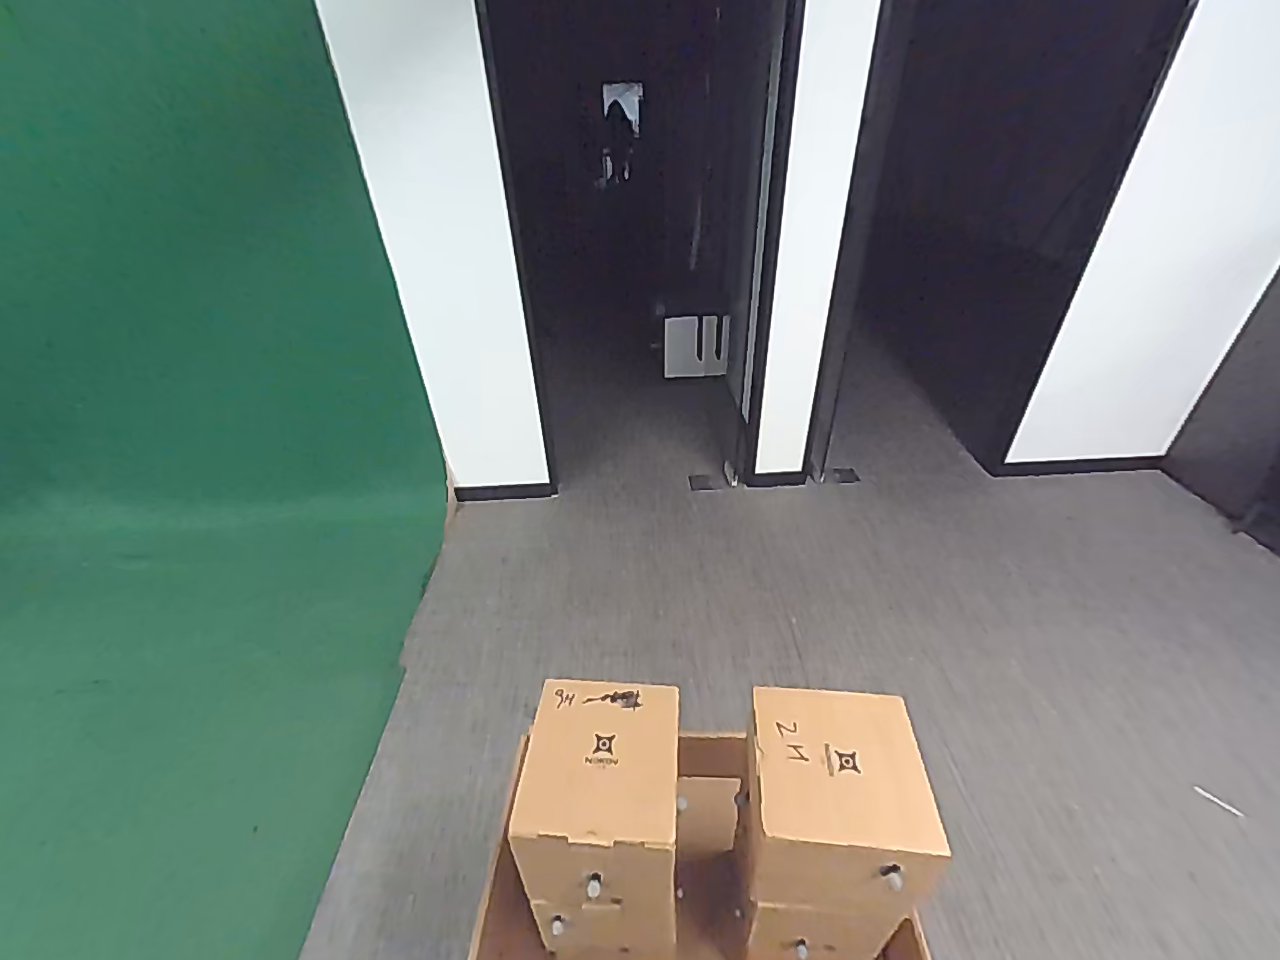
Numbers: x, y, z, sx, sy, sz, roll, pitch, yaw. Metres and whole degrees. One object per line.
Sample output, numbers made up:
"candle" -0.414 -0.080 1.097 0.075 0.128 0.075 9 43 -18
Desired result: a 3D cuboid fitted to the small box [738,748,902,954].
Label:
"small box" 0.222 0.490 0.722 0.168 0.176 0.179 0 37 6
